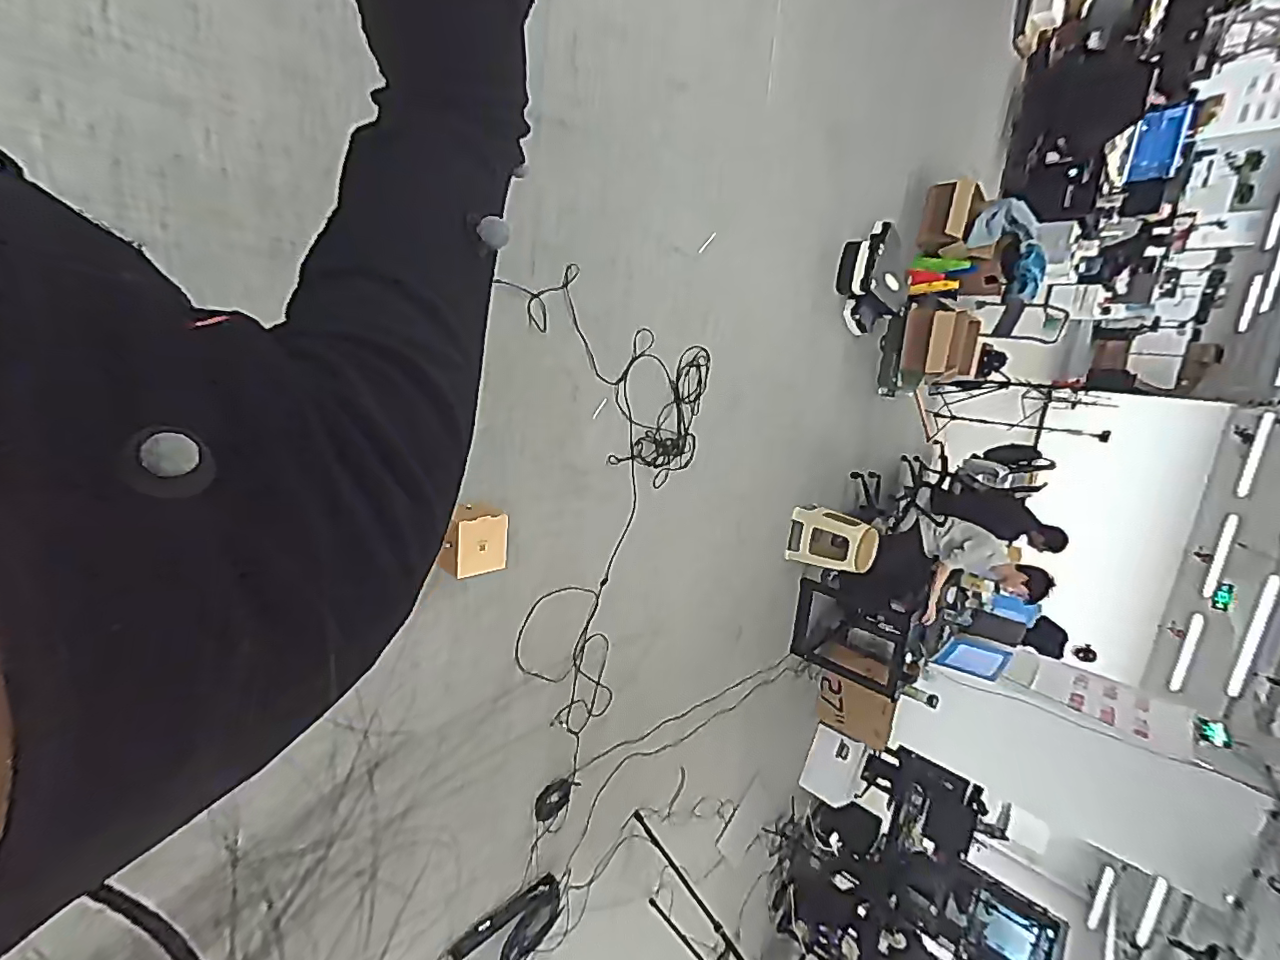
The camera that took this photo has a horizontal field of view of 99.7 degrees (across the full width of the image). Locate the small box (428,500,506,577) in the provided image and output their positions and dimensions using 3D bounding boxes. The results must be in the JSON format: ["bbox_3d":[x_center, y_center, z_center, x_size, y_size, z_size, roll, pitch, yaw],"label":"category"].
[{"bbox_3d":[-0.524,0.170,1.632,0.168,0.176,0.179,-8,108,-47],"label":"small box"}]
